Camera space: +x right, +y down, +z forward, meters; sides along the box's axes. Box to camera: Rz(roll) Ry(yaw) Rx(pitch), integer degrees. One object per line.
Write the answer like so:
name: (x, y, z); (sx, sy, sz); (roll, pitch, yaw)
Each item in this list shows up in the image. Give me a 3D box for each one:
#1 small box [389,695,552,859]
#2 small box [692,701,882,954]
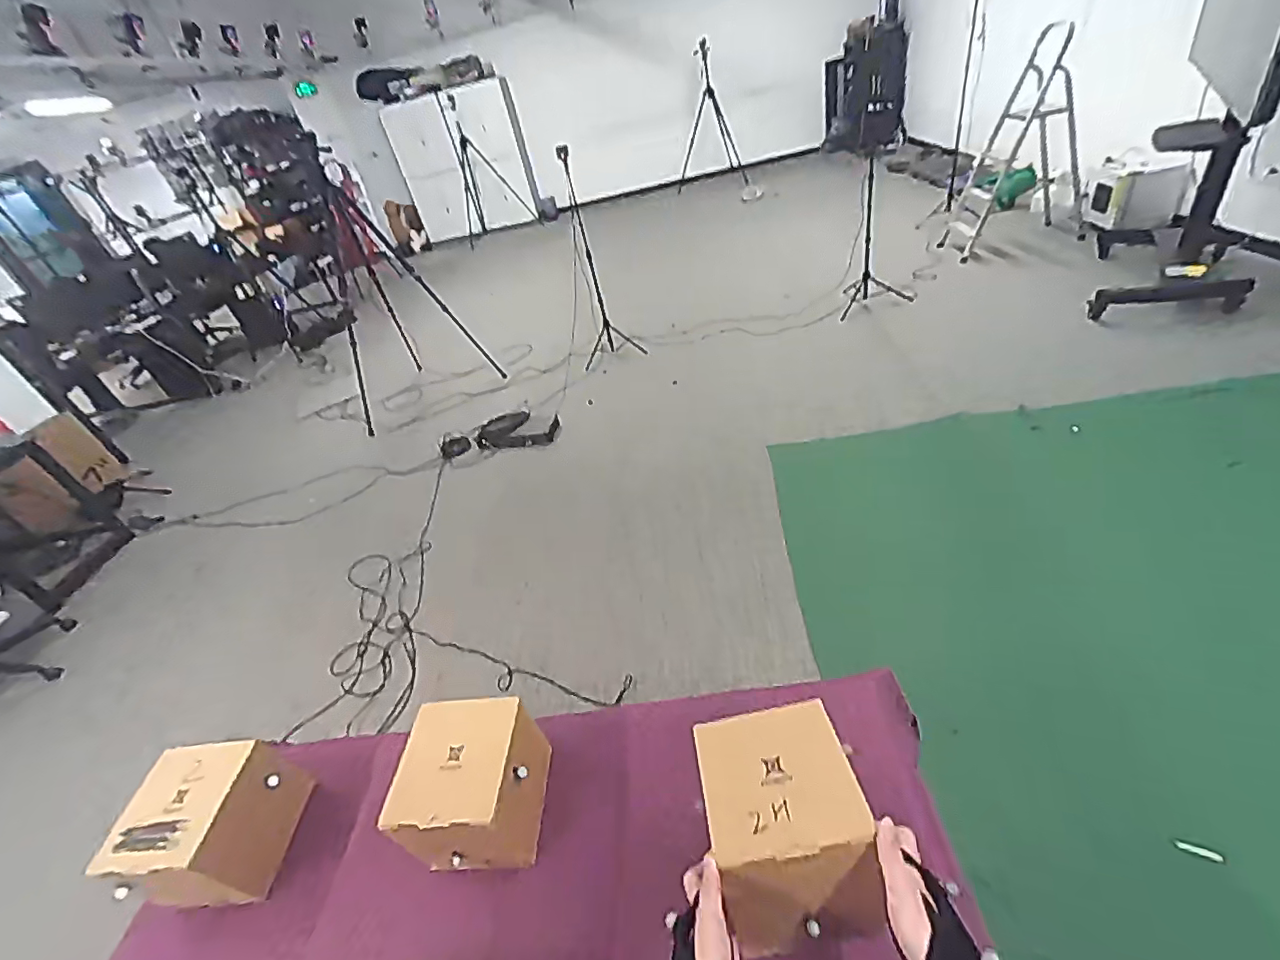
small box: (-0.246, 0.460, 0.839); (0.168, 0.176, 0.179); (-8, 40, 10)
small box: (0.165, 0.402, 0.638); (0.168, 0.176, 0.179); (-15, 22, 6)
